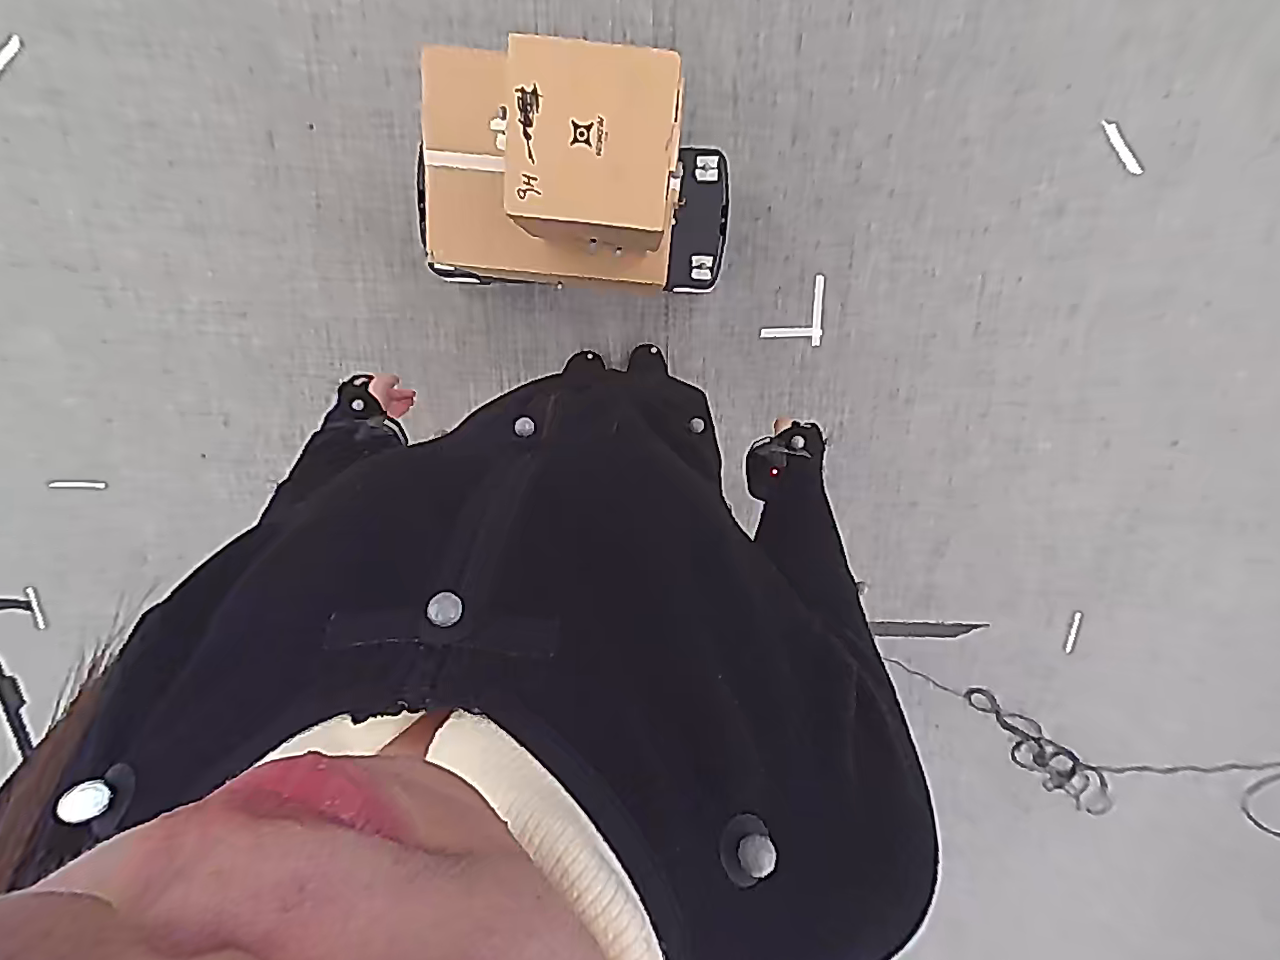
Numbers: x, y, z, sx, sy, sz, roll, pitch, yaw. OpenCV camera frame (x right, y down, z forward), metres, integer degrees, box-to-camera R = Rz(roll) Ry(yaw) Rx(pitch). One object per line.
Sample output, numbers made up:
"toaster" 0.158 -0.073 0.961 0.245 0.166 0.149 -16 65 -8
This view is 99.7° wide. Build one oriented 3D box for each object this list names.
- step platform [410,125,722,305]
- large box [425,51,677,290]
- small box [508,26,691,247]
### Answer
"step platform" -0.158 -0.589 1.234 0.684 0.204 0.286 7 106 -2
"large box" -0.135 -0.532 1.003 0.408 0.320 0.320 5 105 -1
"small box" -0.046 -0.374 0.624 0.179 0.176 0.168 5 106 -3
